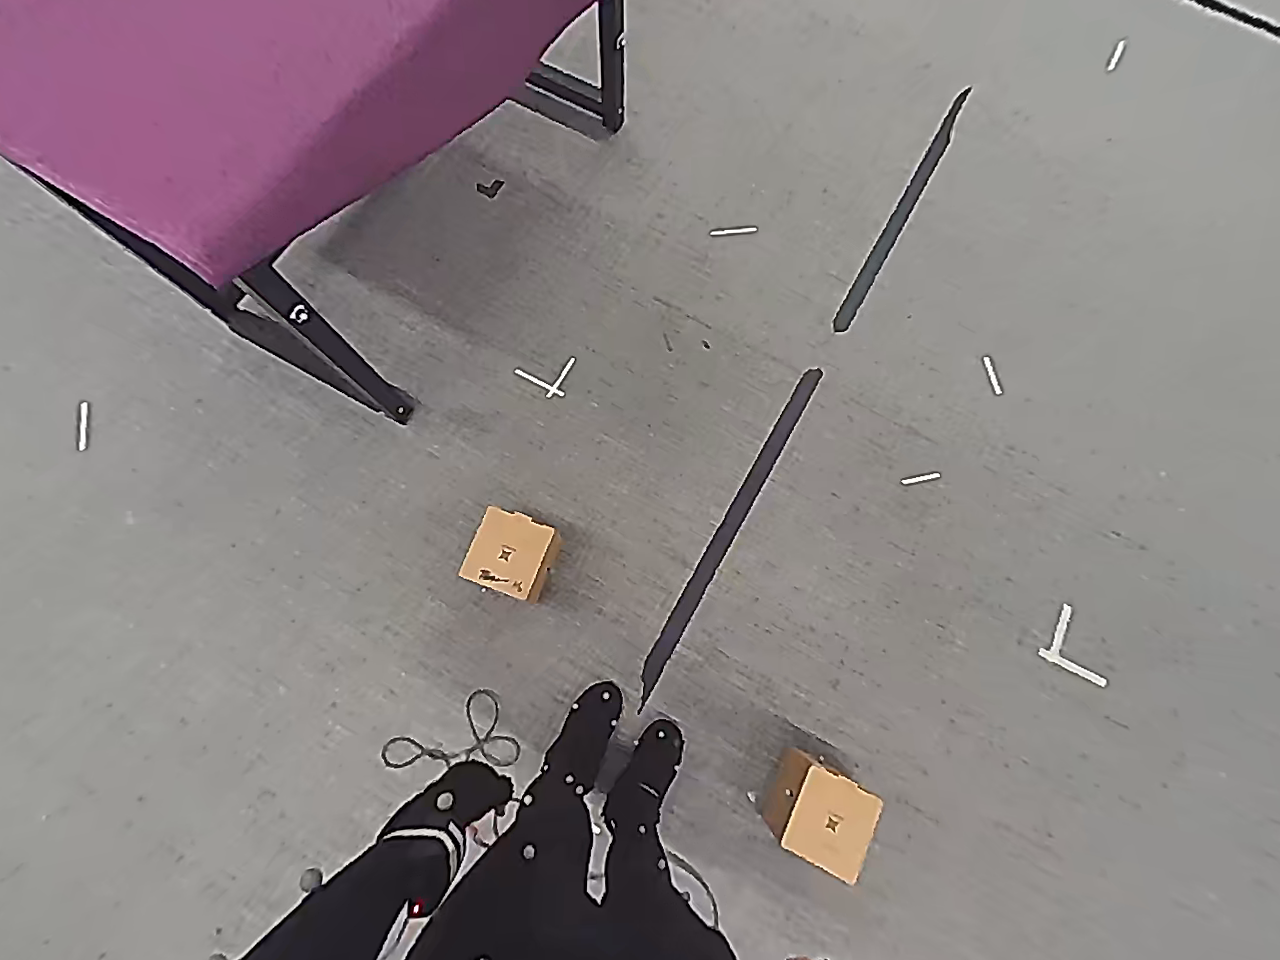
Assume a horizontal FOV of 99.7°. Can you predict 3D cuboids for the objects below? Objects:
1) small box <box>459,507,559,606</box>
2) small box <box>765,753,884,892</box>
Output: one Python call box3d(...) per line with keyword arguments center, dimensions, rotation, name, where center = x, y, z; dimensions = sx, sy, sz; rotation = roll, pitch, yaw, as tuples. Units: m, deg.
box3d(center=(-0.301, 0.187, 1.287), dimensions=(0.168, 0.176, 0.179), rotation=(21, 75, 3), name="small box")
box3d(center=(0.390, 0.726, 1.172), dimensions=(0.168, 0.176, 0.179), rotation=(26, 77, 6), name="small box")
